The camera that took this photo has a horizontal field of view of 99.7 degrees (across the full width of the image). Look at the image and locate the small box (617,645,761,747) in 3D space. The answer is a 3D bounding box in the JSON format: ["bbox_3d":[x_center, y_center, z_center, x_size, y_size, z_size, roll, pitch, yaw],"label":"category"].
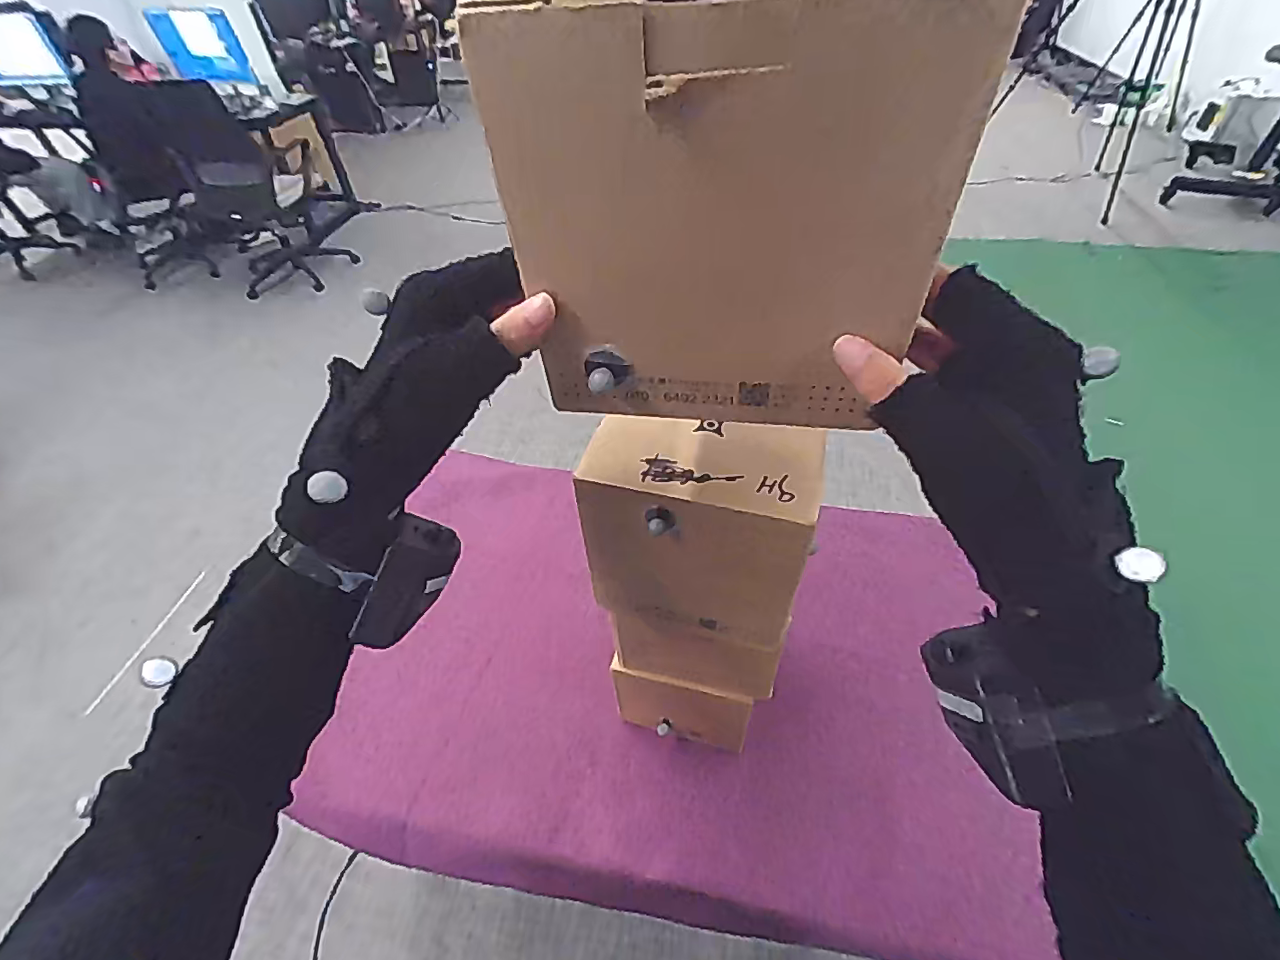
[{"bbox_3d":[0.077,0.219,0.712,0.168,0.176,0.179,9,48,13],"label":"small box"}]

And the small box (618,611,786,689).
[{"bbox_3d":[0.076,0.107,0.595,0.179,0.176,0.168,9,47,12],"label":"small box"}]

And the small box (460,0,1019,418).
[{"bbox_3d":[0.045,-0.147,0.262,0.168,0.176,0.179,4,50,10],"label":"small box"}]

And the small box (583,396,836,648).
[{"bbox_3d":[0.064,0.011,0.461,0.168,0.176,0.179,10,48,14],"label":"small box"}]
